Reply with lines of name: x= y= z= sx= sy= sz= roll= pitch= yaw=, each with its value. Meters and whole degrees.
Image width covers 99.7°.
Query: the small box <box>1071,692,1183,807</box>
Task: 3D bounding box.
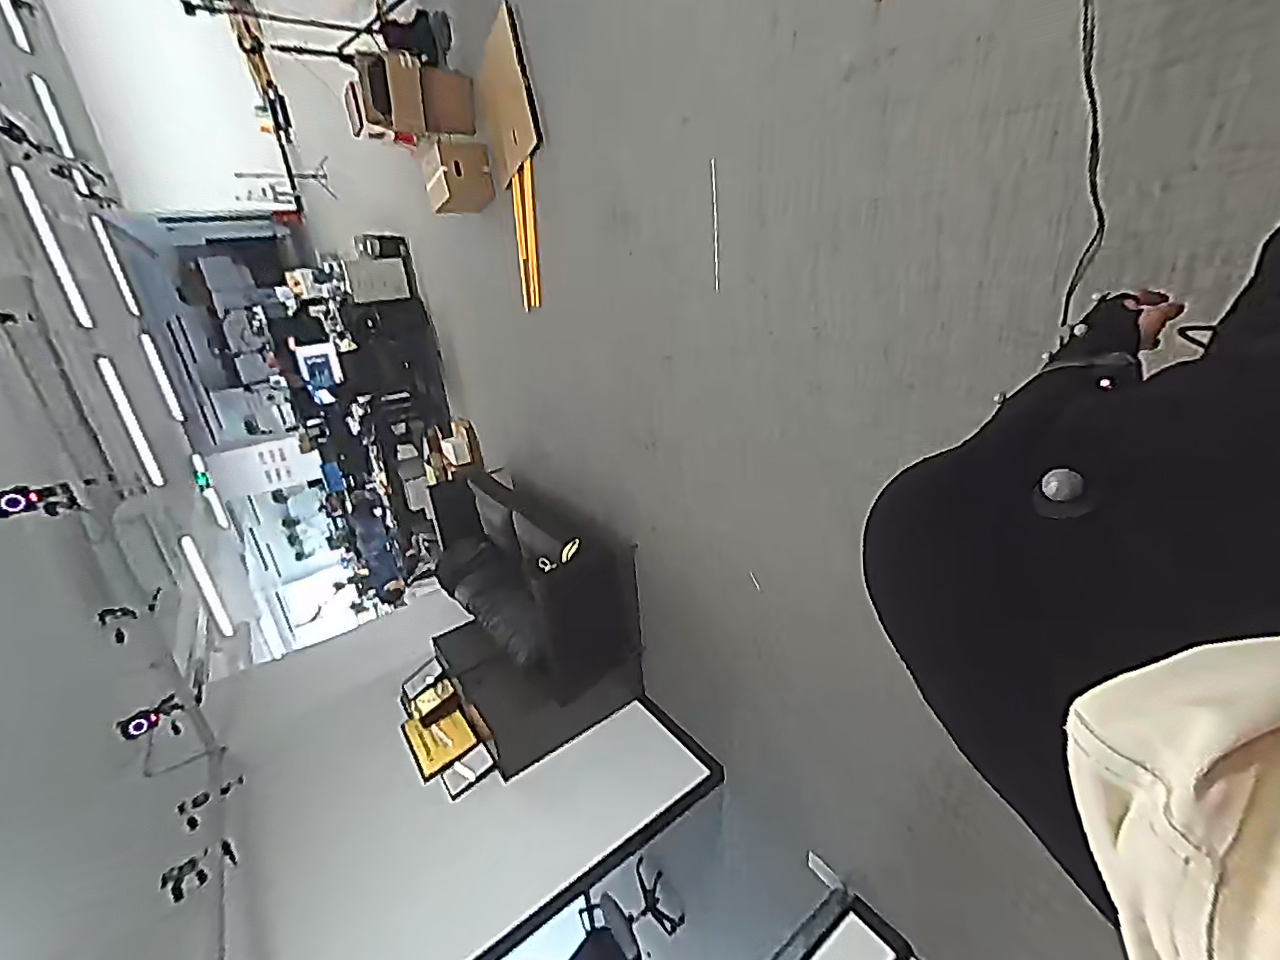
small box: x=1.288 y=0.706 z=1.432 sx=0.168 sy=0.176 sz=0.179 roll=24 pitch=125 yaw=50
